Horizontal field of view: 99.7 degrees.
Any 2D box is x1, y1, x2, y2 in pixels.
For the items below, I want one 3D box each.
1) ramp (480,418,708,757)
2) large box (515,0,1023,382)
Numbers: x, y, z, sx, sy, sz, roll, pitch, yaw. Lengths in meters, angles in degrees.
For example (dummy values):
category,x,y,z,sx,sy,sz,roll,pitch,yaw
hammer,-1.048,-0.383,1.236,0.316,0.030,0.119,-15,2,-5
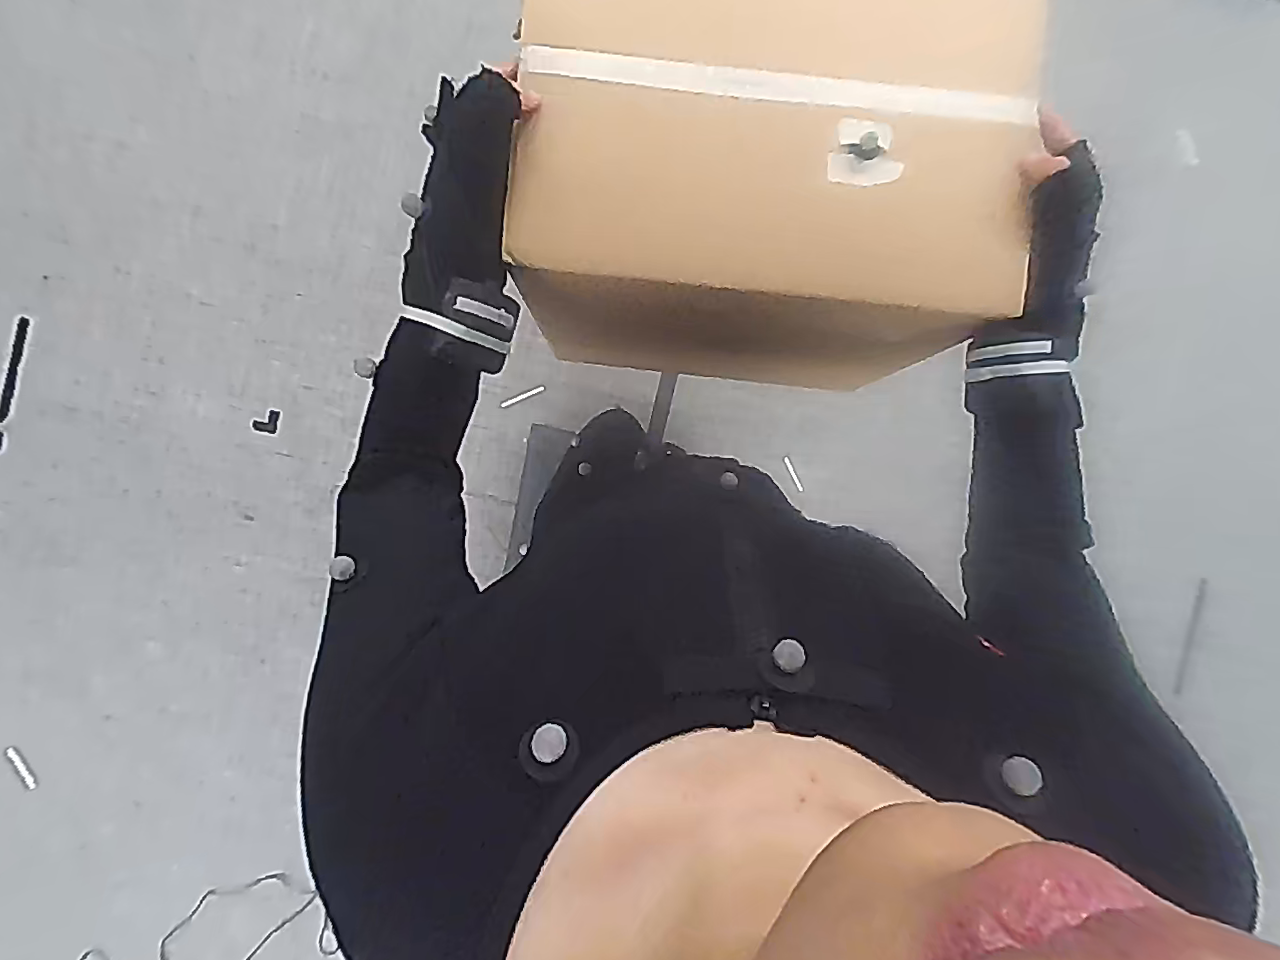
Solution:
category,x,y,z,sx,sy,sz,roll,pitch,yaw
ramp,-0.153,0.350,1.583,0.509,0.206,0.991,11,93,-4
large box,0.103,-0.303,0.584,0.408,0.320,0.320,5,89,-2
